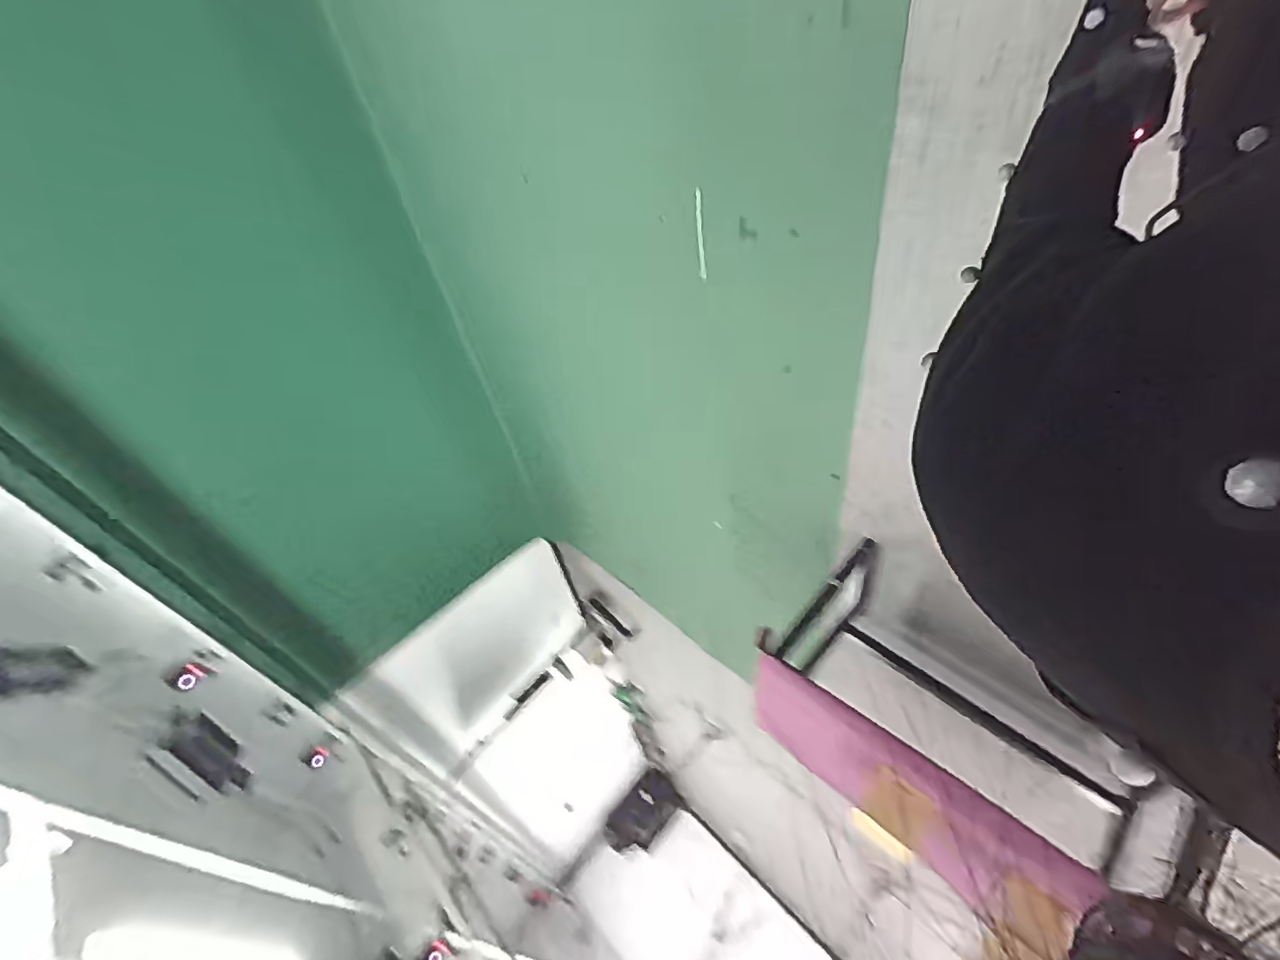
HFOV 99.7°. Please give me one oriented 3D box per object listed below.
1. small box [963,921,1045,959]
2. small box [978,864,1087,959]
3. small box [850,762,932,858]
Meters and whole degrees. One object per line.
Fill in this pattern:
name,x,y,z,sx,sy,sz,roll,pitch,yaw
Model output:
small box,0.927,1.262,1.363,0.168,0.176,0.179,31,148,35
small box,1.044,1.176,1.440,0.168,0.176,0.179,30,147,36
small box,0.770,1.008,1.661,0.168,0.176,0.179,30,149,36
